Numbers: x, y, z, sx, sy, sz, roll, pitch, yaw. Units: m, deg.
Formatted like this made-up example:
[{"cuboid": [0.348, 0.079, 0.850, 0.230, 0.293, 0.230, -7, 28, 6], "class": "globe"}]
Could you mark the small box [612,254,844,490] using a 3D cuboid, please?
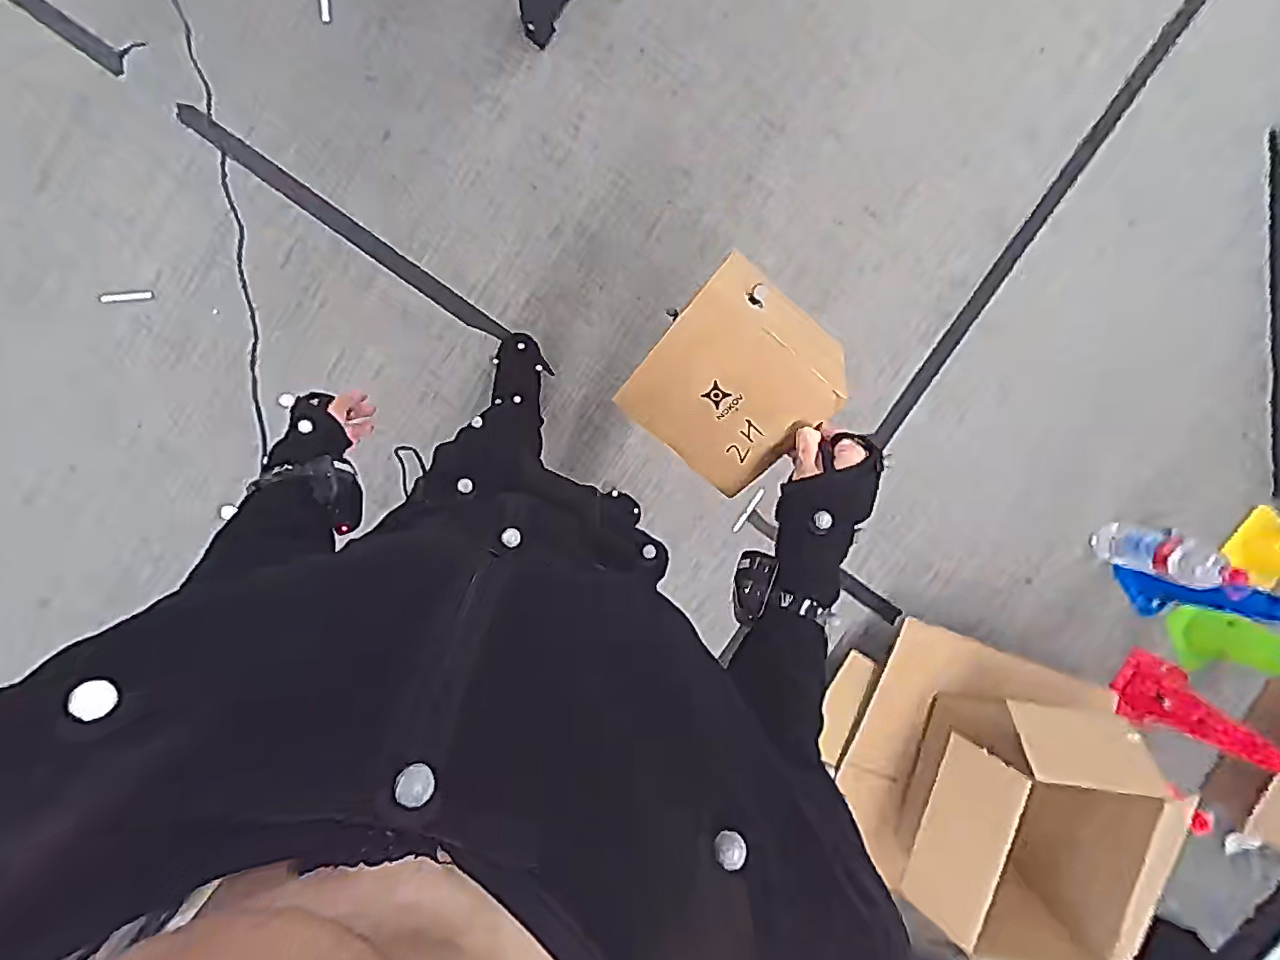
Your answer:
[{"cuboid": [0.101, -0.128, 0.606, 0.179, 0.176, 0.168, 38, 126, -8], "class": "small box"}]
